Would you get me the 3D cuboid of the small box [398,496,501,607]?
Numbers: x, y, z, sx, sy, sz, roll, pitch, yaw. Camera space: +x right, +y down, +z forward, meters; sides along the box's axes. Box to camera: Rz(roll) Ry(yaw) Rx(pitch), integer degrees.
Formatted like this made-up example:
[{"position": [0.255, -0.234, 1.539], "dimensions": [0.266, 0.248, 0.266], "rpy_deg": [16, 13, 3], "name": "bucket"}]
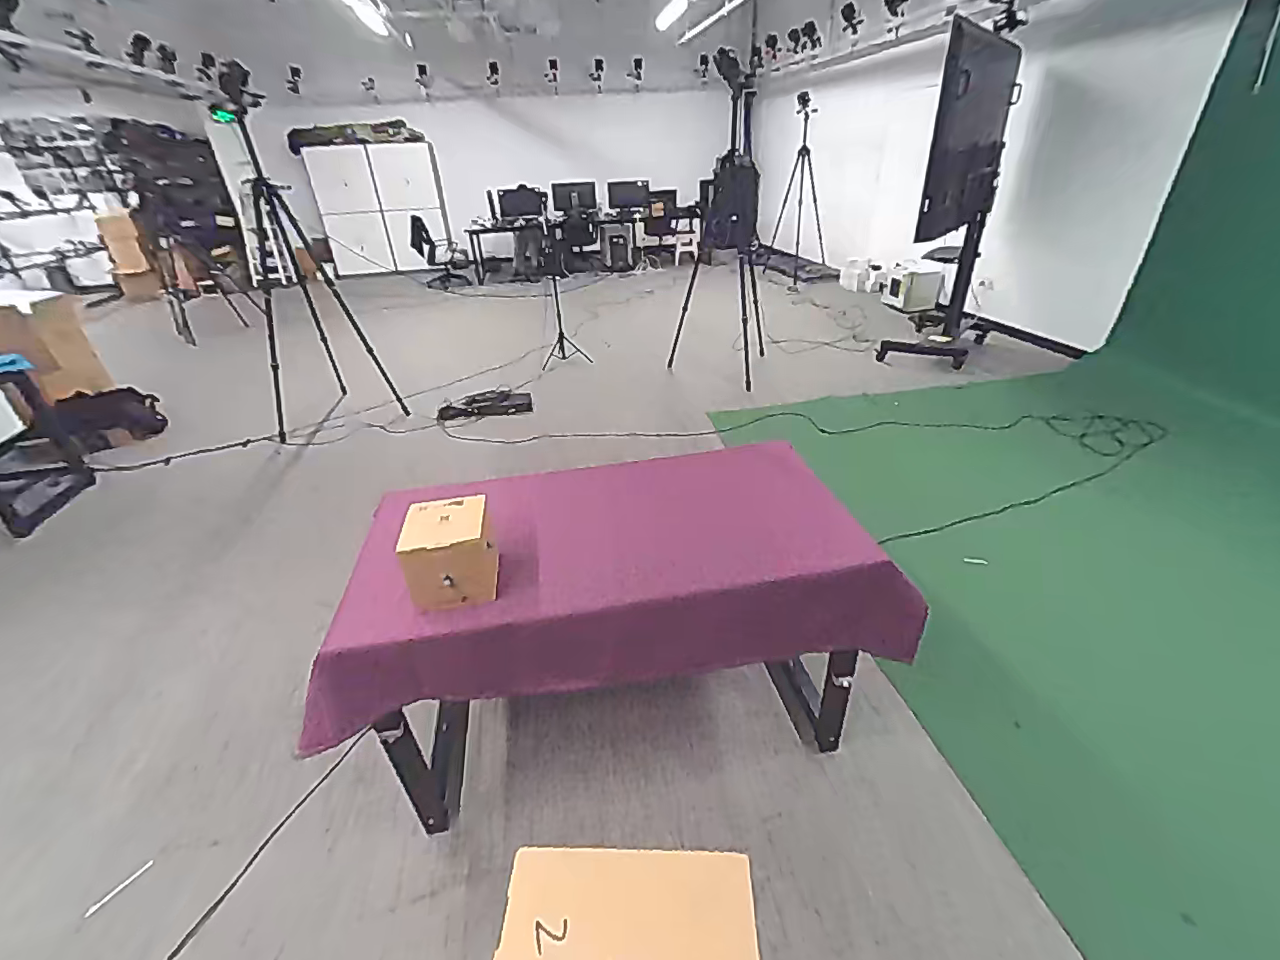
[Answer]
[{"position": [-0.404, 0.159, 1.180], "dimensions": [0.168, 0.176, 0.179], "rpy_deg": [-8, 31, -7], "name": "small box"}]
